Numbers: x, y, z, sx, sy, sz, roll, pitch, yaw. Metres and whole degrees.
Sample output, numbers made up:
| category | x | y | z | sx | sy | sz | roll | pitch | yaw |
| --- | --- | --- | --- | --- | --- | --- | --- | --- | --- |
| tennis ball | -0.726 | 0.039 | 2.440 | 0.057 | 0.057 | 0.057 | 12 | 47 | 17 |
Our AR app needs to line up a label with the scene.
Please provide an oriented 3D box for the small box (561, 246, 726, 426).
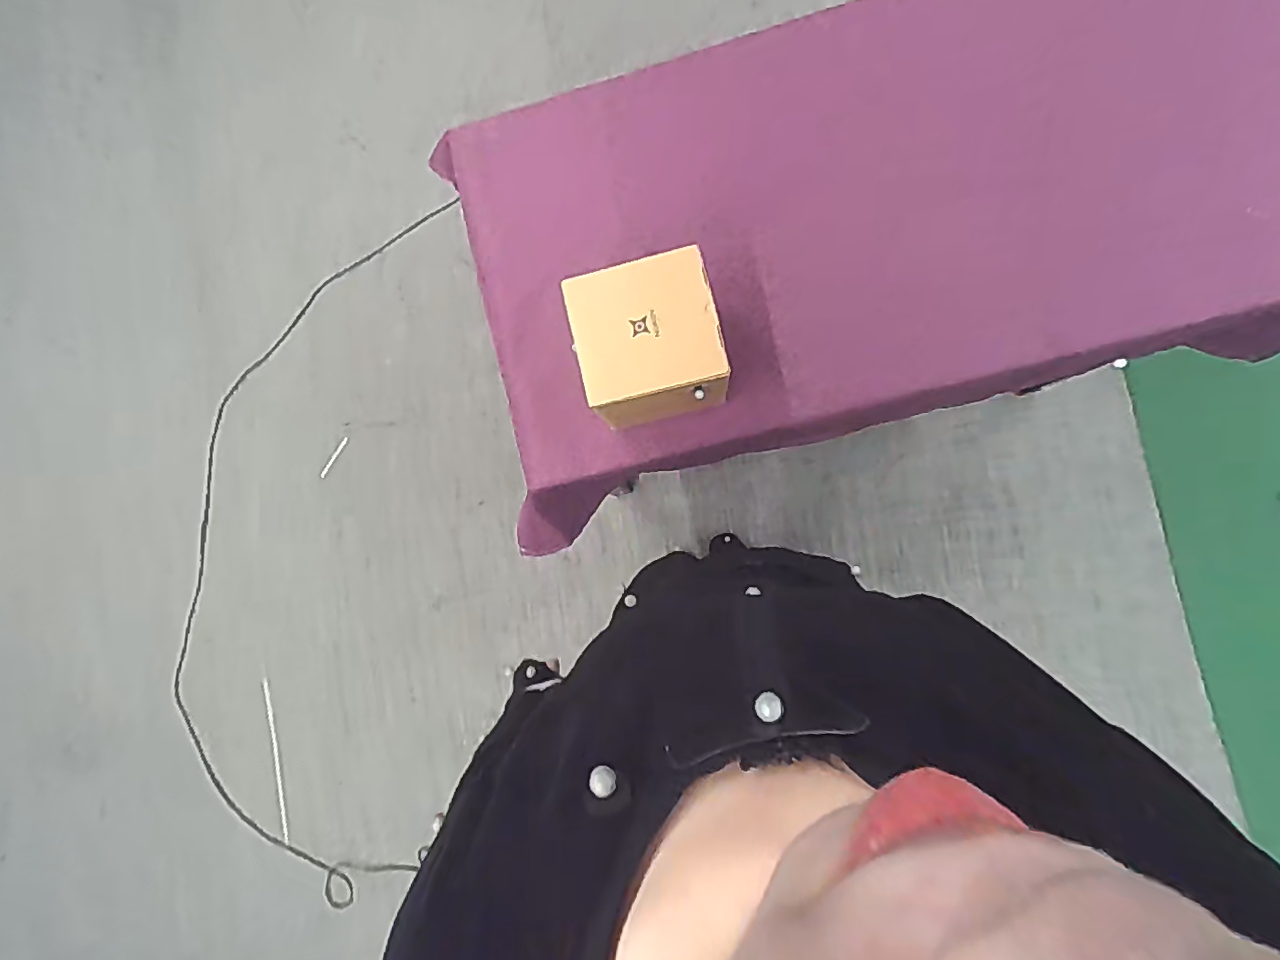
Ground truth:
| category | x | y | z | sx | sy | sz | roll | pitch | yaw |
| --- | --- | --- | --- | --- | --- | --- | --- | --- | --- |
| small box | 0.010 | -0.180 | 0.732 | 0.179 | 0.176 | 0.168 | -14 | 84 | 4 |
